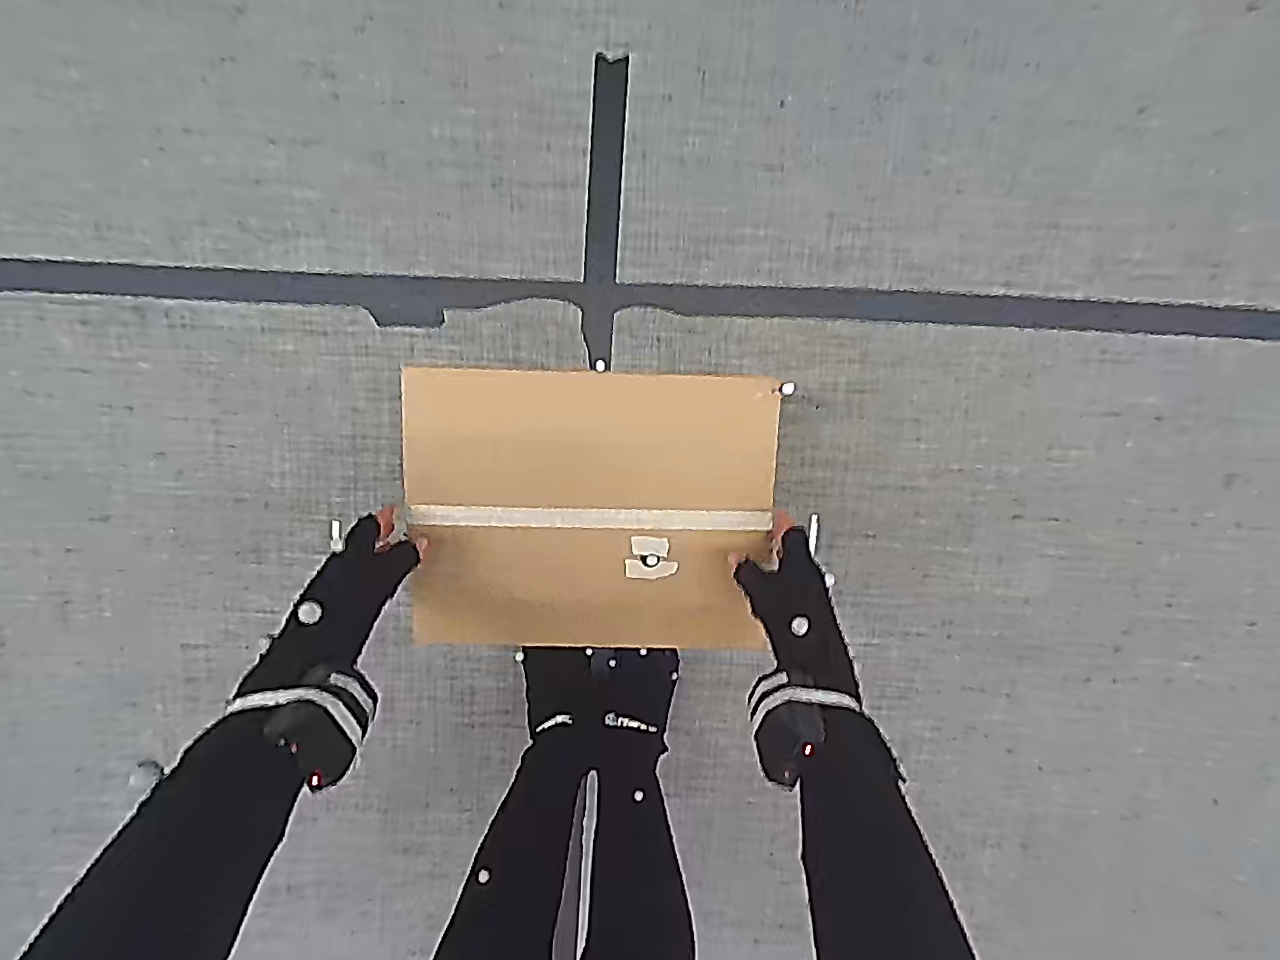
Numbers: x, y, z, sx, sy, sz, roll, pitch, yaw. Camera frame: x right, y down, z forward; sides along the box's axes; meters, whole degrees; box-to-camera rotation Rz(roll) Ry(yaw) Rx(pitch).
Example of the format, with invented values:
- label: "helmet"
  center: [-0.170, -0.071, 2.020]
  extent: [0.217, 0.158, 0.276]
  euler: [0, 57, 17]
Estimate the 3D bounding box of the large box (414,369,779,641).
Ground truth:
- label: "large box"
  center: [-0.055, 0.014, 0.756]
  extent: [0.408, 0.320, 0.320]
  euler: [1, 100, -2]
